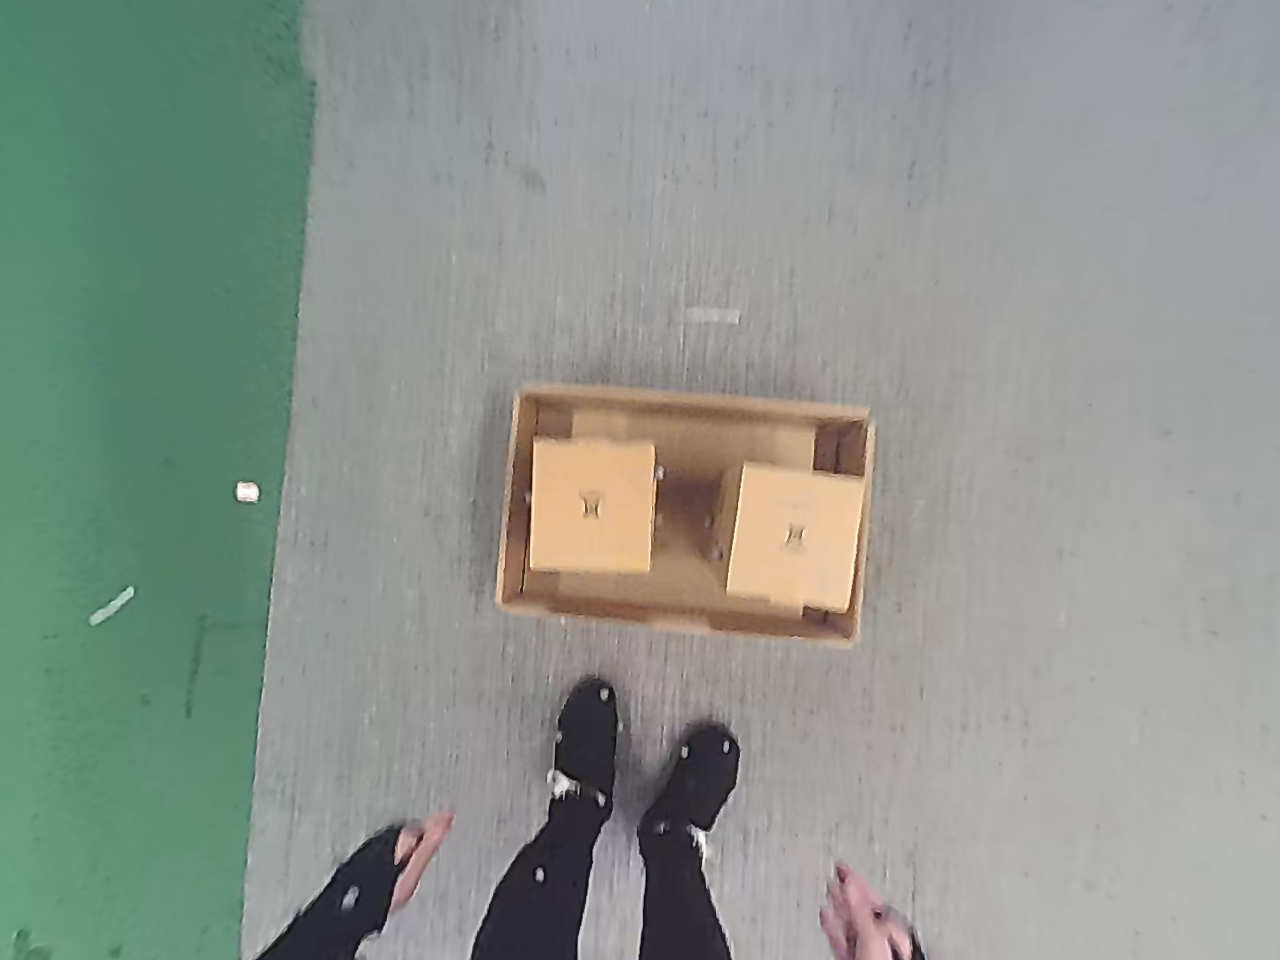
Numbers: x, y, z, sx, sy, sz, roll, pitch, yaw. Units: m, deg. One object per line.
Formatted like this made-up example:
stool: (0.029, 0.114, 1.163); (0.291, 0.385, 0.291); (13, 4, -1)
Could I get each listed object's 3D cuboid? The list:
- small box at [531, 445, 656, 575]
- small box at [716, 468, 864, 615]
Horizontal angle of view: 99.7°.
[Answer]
small box: (-0.061, 0.044, 0.818); (0.168, 0.176, 0.179); (1, 87, 2)
small box: (0.210, 0.084, 0.801); (0.168, 0.176, 0.179); (9, 88, 2)
